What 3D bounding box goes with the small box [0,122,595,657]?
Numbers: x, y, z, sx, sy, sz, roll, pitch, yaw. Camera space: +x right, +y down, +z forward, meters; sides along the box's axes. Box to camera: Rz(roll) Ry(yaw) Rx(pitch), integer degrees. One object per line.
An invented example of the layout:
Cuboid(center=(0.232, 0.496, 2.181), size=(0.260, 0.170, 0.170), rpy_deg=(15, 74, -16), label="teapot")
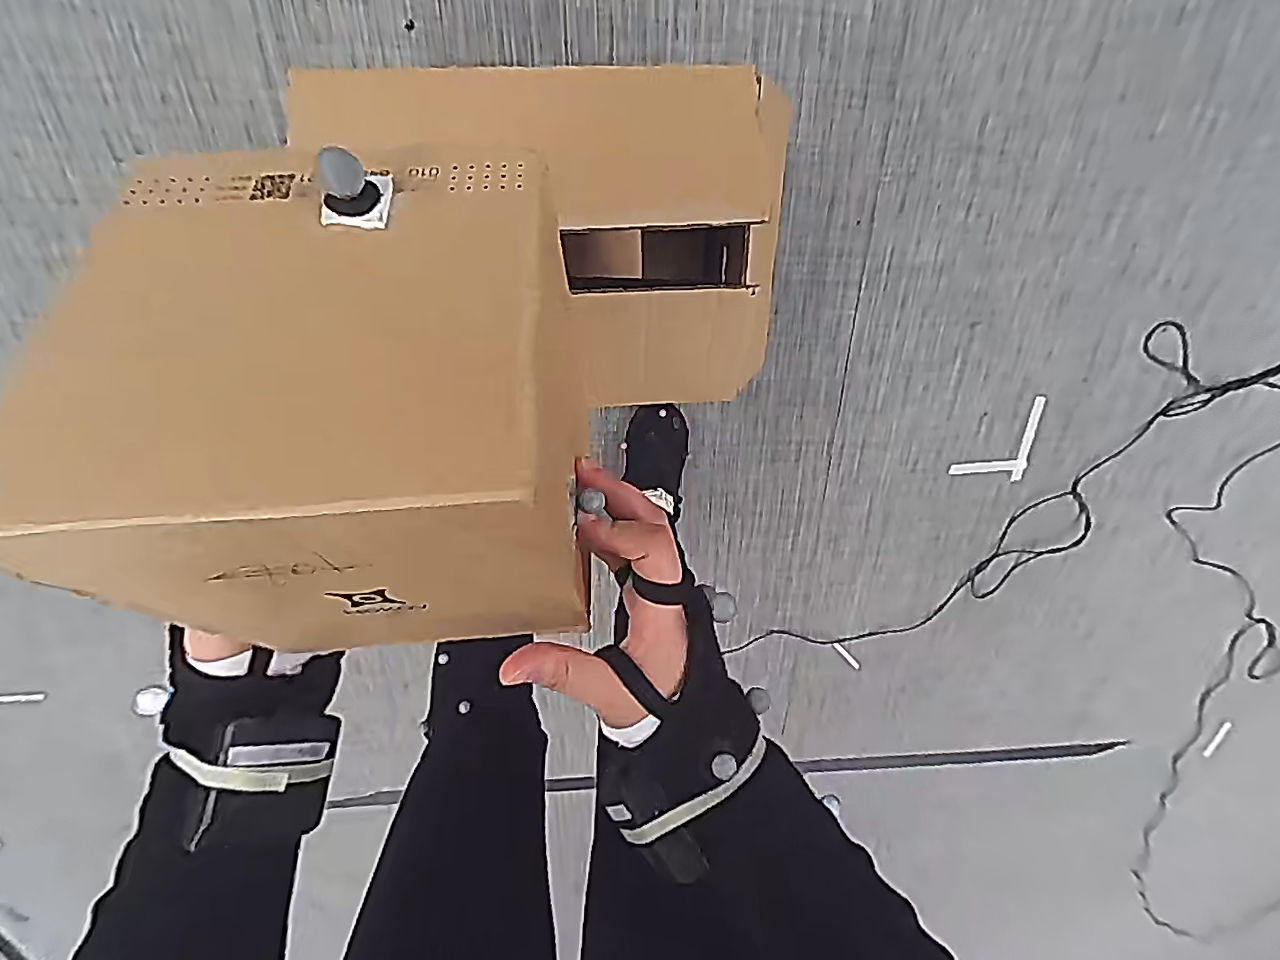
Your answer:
Cuboid(center=(-0.109, -0.025, 0.249), size=(0.168, 0.176, 0.179), rpy_deg=(-5, 152, -2), label="small box")
